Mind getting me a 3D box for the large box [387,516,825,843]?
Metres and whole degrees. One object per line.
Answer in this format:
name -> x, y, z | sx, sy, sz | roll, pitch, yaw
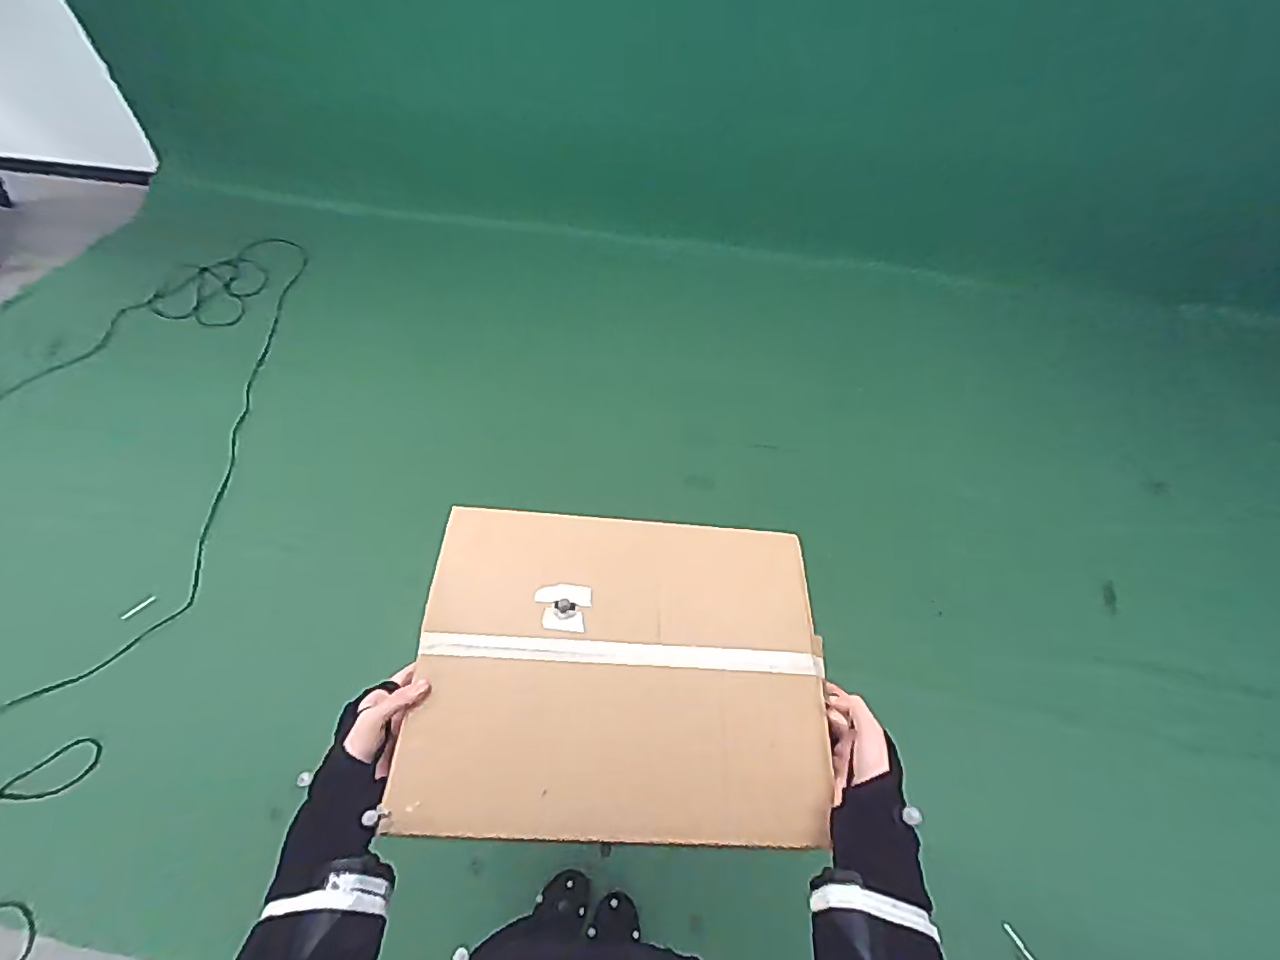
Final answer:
large box -> -0.034, 0.262, 0.688 | 0.408, 0.320, 0.320 | 5, 58, -4
